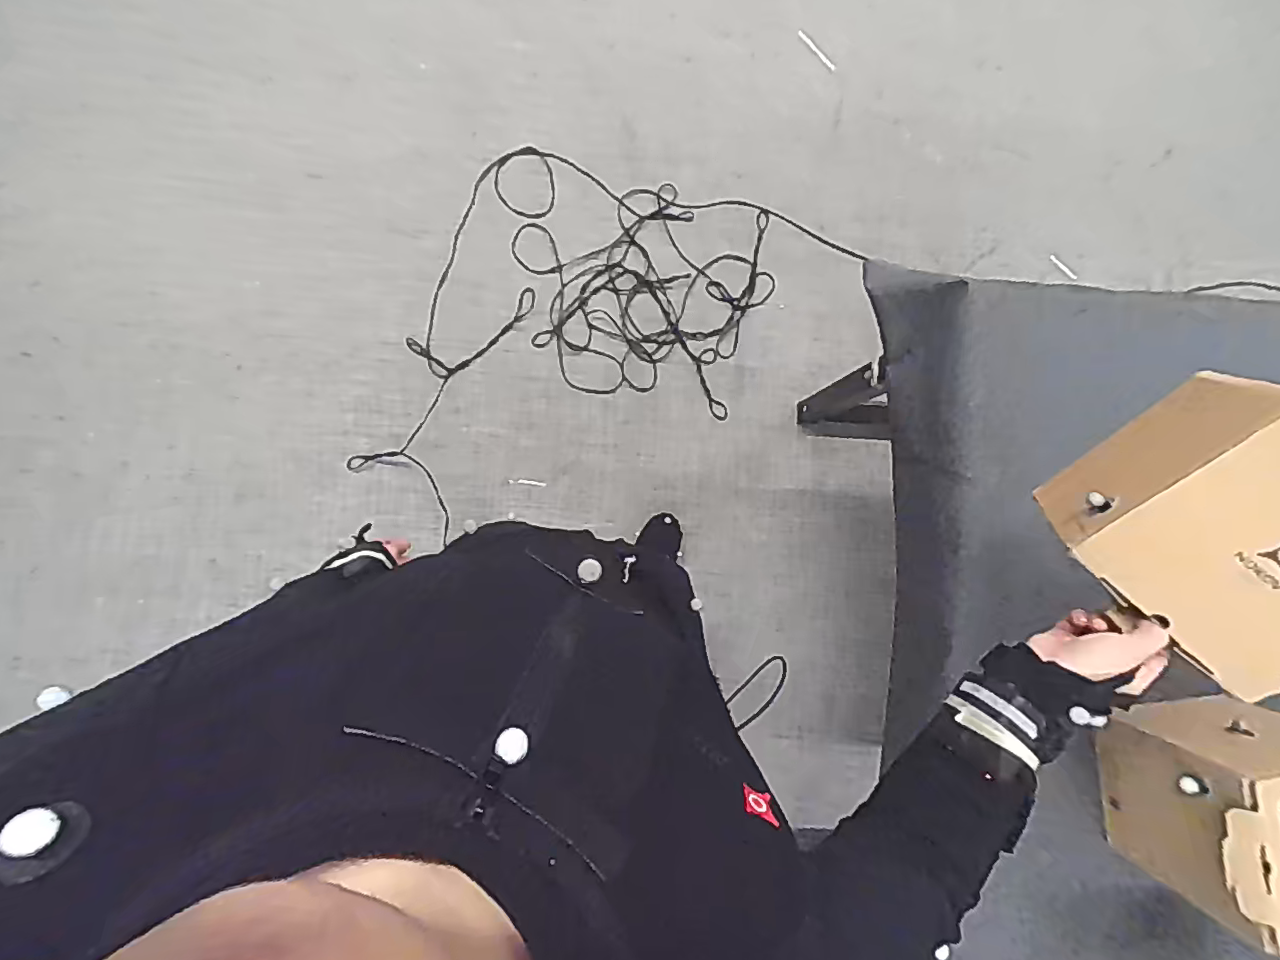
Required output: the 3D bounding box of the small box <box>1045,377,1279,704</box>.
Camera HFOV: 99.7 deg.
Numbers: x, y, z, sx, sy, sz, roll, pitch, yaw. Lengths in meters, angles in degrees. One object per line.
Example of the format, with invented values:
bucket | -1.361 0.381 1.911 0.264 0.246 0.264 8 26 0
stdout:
small box | 0.484 0.034 0.443 0.168 0.176 0.179 45 120 8
